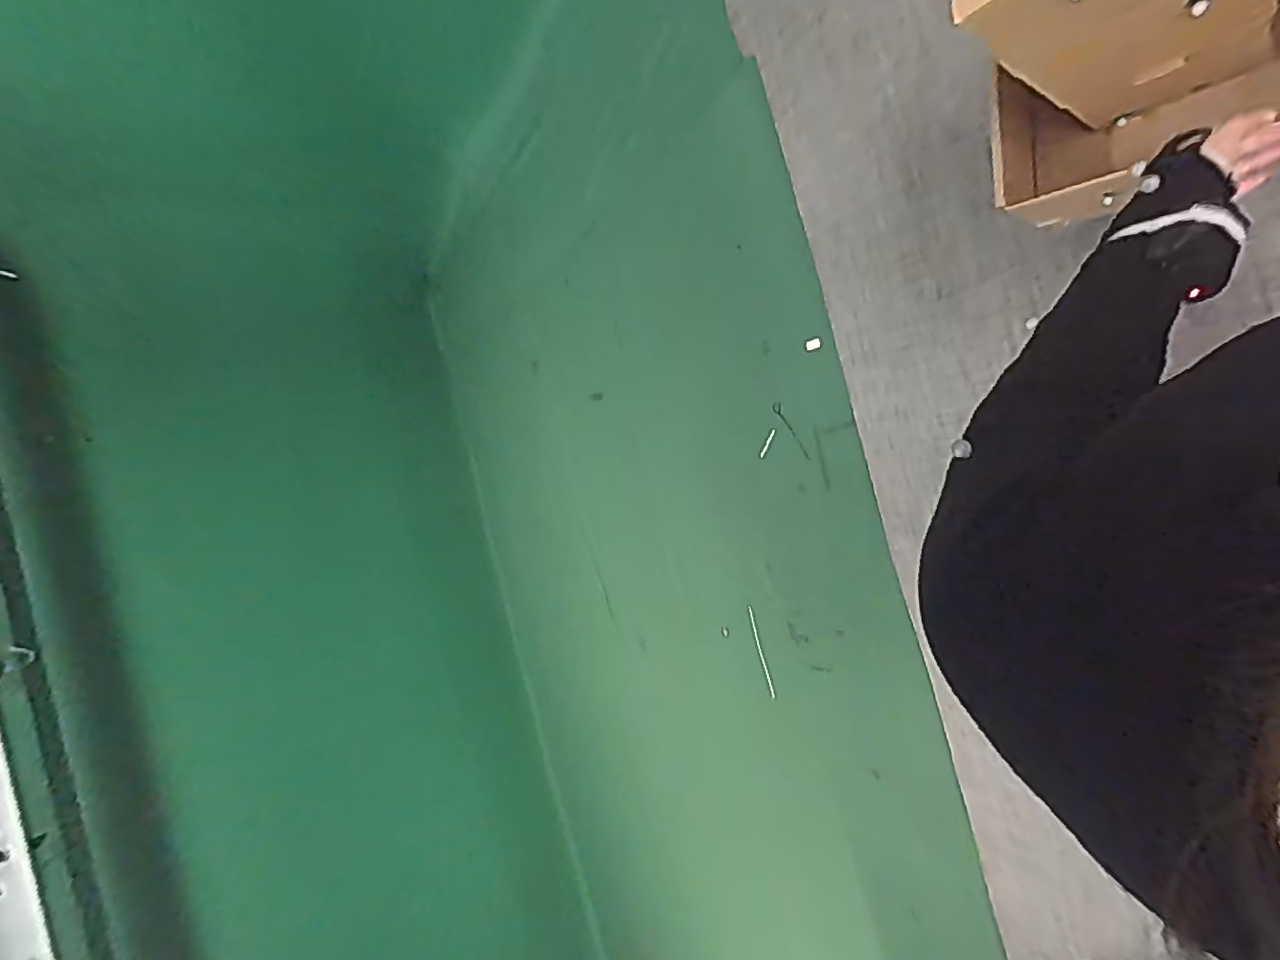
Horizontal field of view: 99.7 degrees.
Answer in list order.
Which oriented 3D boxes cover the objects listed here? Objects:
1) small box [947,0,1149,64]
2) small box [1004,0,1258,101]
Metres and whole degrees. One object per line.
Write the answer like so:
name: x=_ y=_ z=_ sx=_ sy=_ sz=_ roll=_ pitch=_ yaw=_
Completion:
small box: x=0.370 y=-0.491 z=0.443 sx=0.179 sy=0.176 sz=0.168 roll=-3 pitch=101 yaw=49
small box: x=0.492 y=-0.526 z=0.547 sx=0.179 sy=0.176 sz=0.168 roll=-1 pitch=101 yaw=49
